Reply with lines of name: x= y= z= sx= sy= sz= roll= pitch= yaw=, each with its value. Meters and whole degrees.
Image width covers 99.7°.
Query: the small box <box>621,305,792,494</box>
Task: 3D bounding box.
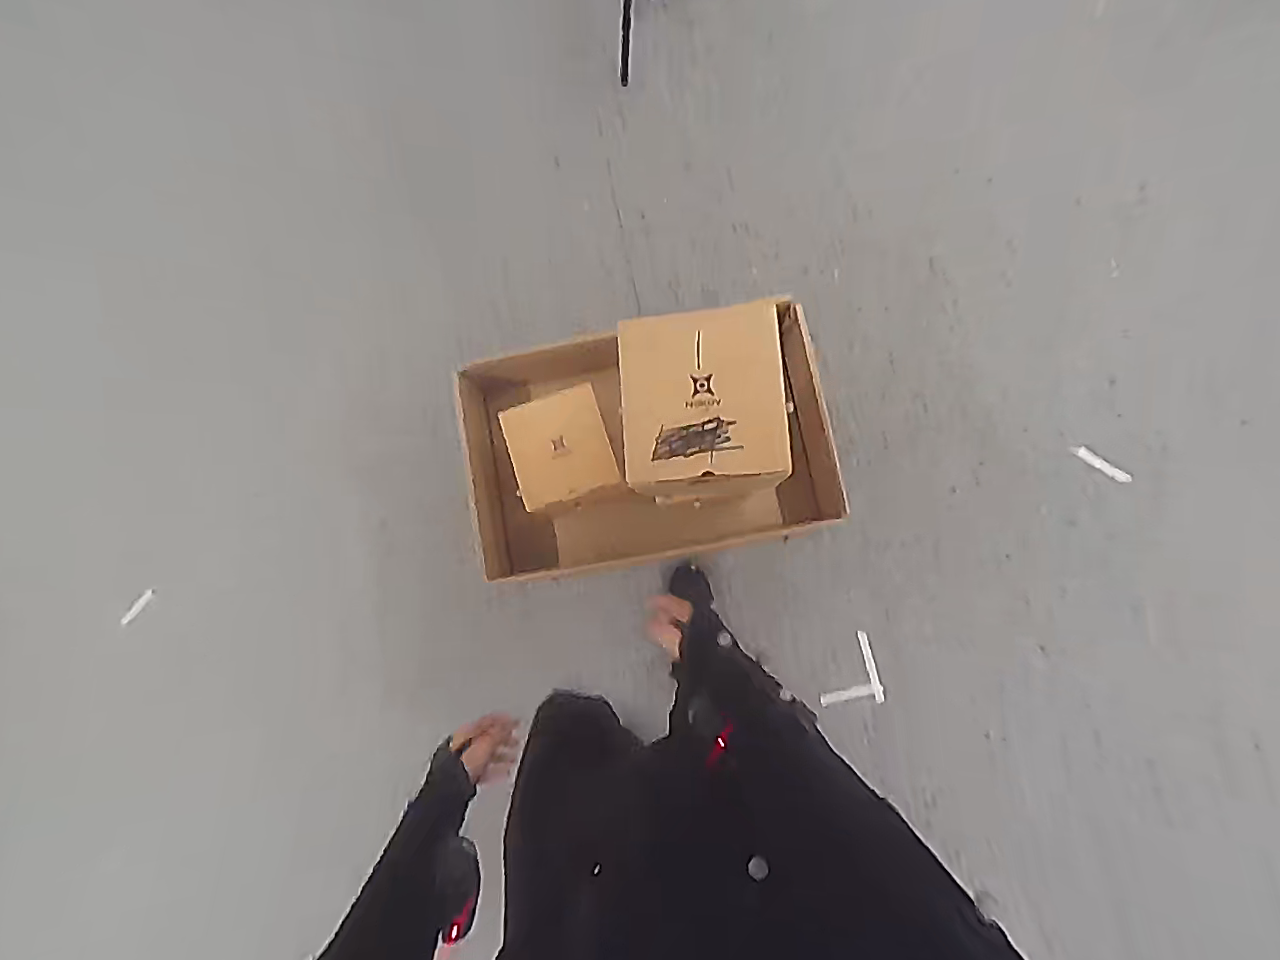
small box: x=0.074 y=-0.077 z=0.619 sx=0.168 sy=0.176 sz=0.179 roll=-4 pitch=83 yaw=6

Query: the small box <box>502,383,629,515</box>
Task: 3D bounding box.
small box: x=-0.124 y=-0.045 z=0.960 sx=0.168 sy=0.176 sz=0.179 roll=-19 pitch=83 yaw=1
